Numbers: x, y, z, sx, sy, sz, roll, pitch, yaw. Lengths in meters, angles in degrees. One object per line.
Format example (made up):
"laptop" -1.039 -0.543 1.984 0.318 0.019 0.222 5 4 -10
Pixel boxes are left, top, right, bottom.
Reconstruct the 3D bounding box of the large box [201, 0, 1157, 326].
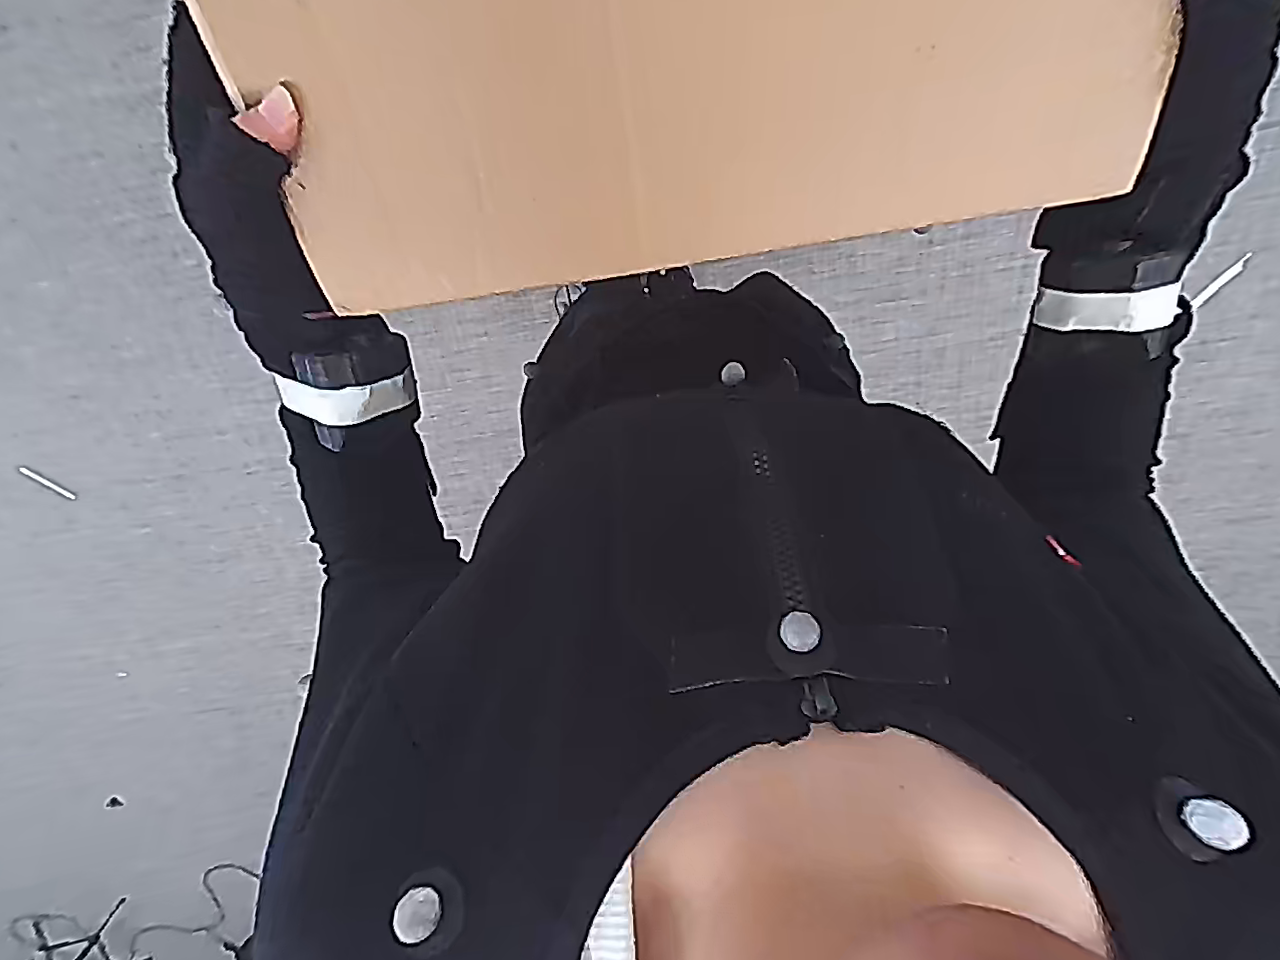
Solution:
"large box" 0.011 -0.323 0.321 0.408 0.320 0.320 -8 124 3
